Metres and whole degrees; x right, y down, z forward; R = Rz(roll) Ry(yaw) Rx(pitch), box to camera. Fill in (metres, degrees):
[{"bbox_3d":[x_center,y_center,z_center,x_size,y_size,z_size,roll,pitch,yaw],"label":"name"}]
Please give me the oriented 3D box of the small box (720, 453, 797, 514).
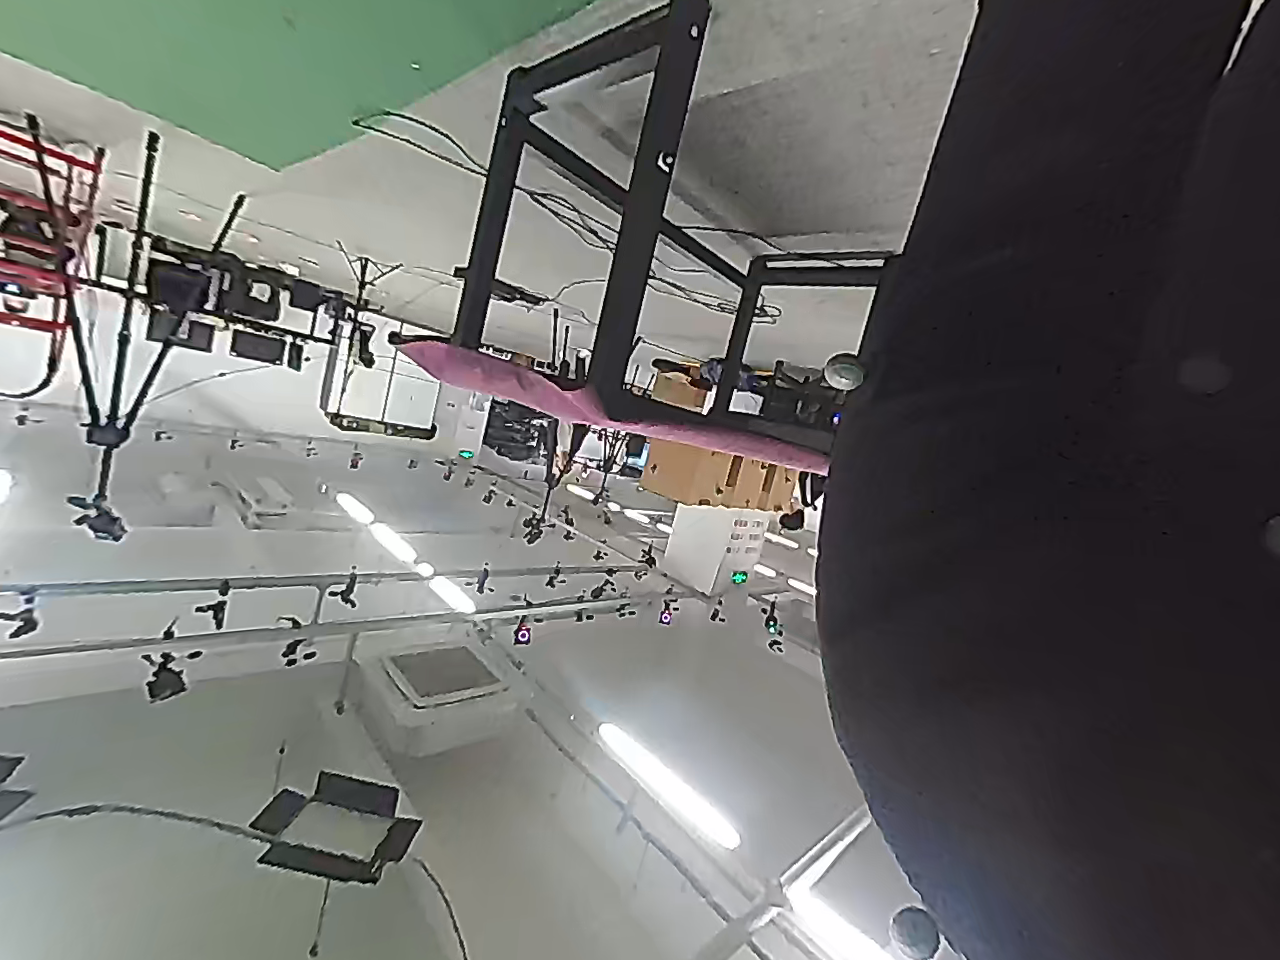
[{"bbox_3d":[0.407,0.008,1.843,0.179,0.176,0.168,20,-172,41],"label":"small box"}]
